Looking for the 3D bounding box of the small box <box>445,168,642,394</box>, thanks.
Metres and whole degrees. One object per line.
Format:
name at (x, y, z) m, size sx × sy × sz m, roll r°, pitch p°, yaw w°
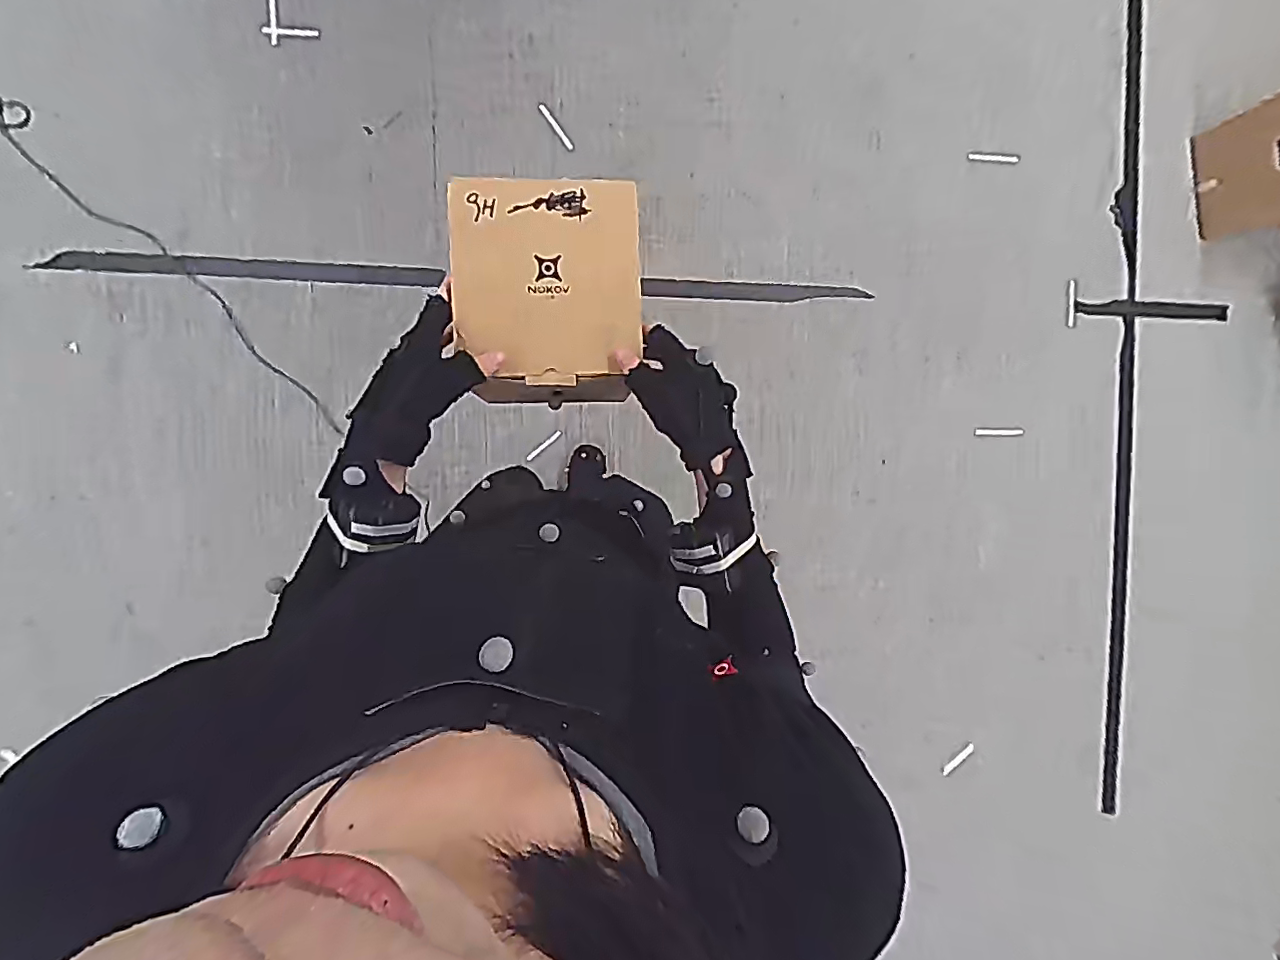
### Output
small box at (-0.088, -0.180, 0.542) m, size 0.168 × 0.176 × 0.179 m, roll -3°, pitch 92°, yaw -6°
